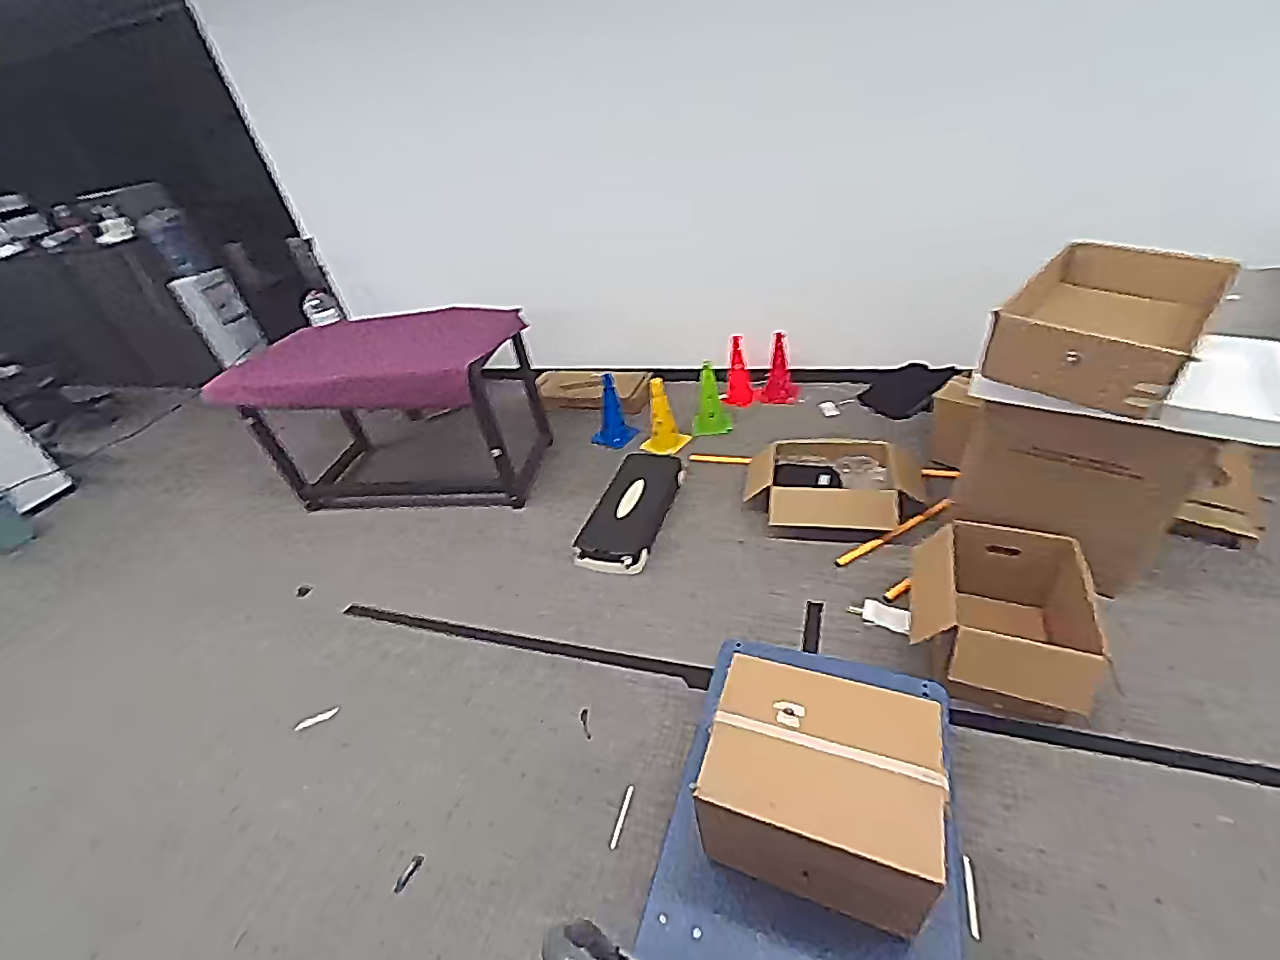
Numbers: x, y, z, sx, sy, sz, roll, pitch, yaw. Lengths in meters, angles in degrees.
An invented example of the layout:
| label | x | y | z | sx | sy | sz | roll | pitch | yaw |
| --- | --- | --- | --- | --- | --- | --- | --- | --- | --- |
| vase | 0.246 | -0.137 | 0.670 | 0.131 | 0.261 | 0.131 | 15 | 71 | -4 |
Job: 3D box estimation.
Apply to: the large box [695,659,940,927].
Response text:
| label | x | y | z | sx | sy | sz | roll | pitch | yaw |
| --- | --- | --- | --- | --- | --- | --- | --- | --- | --- |
| large box | 0.360 | 0.623 | 1.107 | 0.408 | 0.320 | 0.320 | 6 | 39 | 22 |
